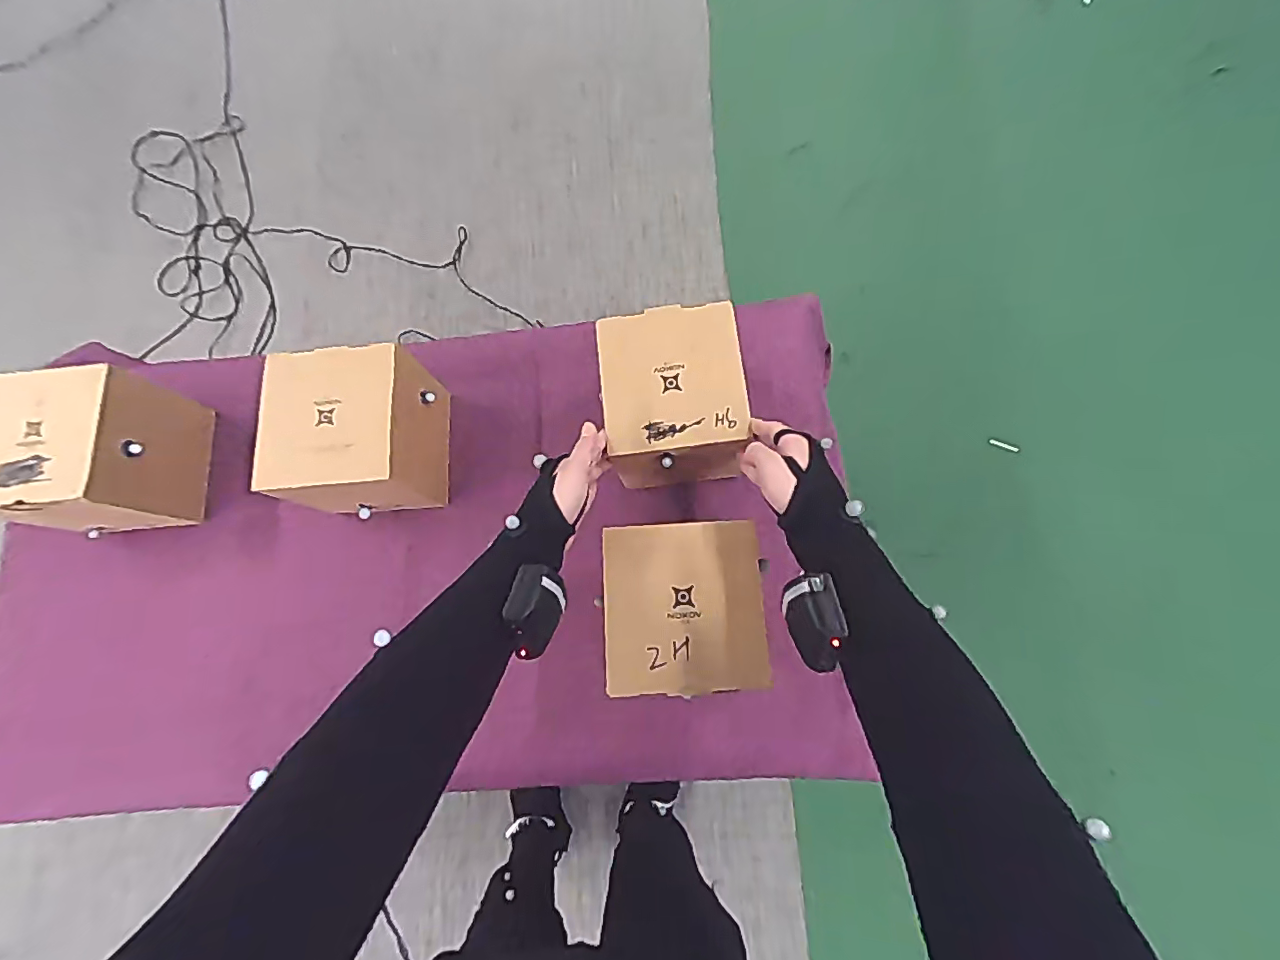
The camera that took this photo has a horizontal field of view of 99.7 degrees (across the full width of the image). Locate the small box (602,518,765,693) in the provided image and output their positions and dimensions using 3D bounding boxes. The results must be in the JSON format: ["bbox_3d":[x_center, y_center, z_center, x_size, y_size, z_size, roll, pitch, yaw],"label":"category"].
[{"bbox_3d":[0.046,0.150,0.637,0.168,0.176,0.179,-3,74,4],"label":"small box"}]

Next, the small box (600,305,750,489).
[{"bbox_3d":[0.043,-0.098,0.702,0.168,0.176,0.179,-6,75,5],"label":"small box"}]

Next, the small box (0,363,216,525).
[{"bbox_3d":[-0.723,-0.037,0.732,0.168,0.176,0.179,-5,75,2],"label":"small box"}]

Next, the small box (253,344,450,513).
[{"bbox_3d":[-0.366,-0.060,0.720,0.168,0.176,0.179,-4,76,3],"label":"small box"}]
